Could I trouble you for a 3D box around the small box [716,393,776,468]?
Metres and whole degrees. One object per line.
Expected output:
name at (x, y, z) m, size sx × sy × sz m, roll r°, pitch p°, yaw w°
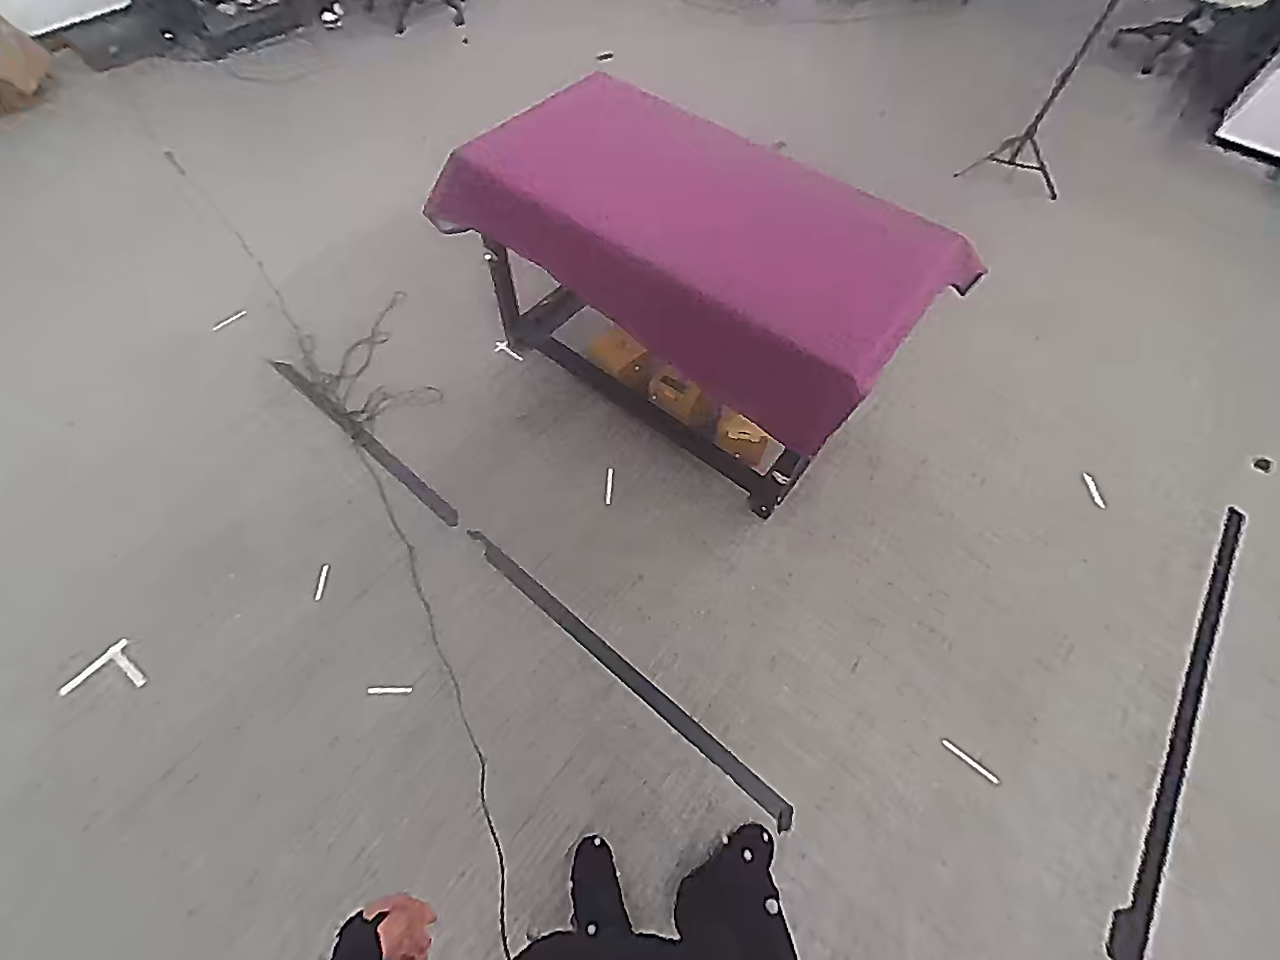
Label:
small box at (0.356, -0.165, 1.828) m, size 0.168 × 0.176 × 0.179 m, roll 10°, pitch 60°, yaw 4°
